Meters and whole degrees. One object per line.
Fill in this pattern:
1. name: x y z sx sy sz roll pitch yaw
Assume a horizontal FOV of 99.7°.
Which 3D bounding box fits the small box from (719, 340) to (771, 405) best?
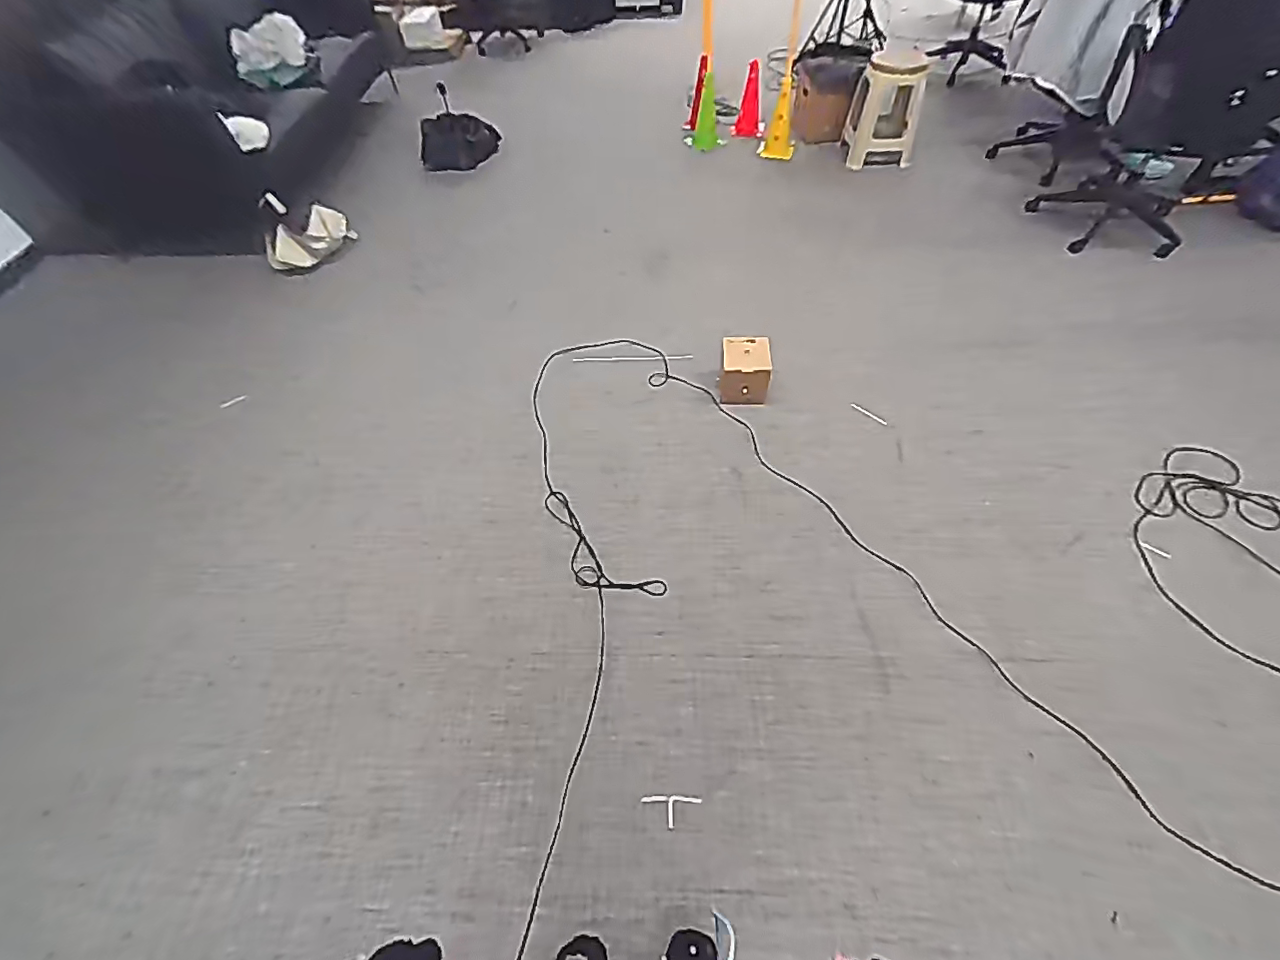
1. small box: 0.379 -0.387 1.962 0.168 0.176 0.179 2 55 5
